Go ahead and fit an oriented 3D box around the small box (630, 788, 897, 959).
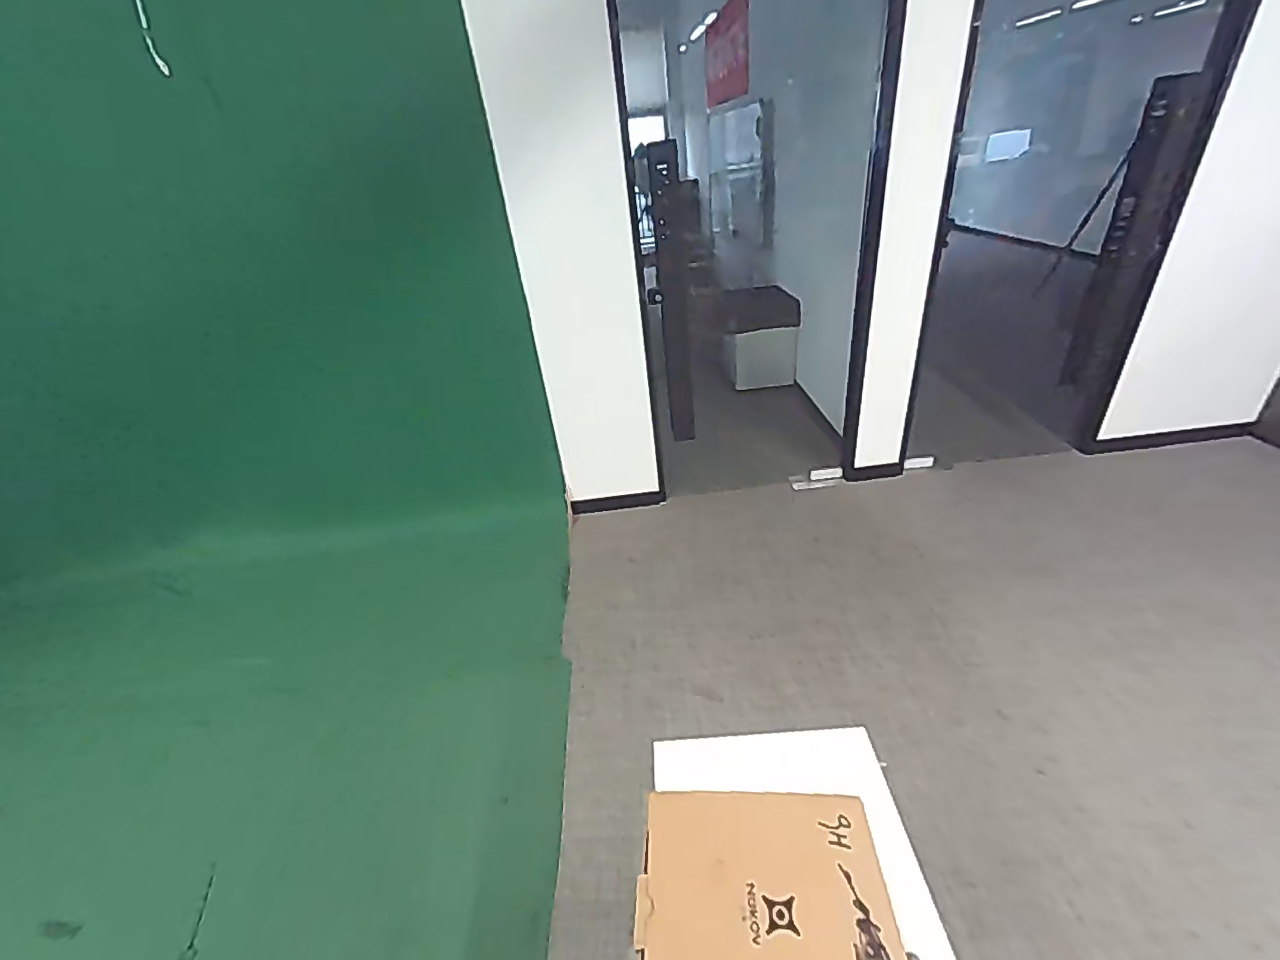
[{"bbox_3d":[0.087,0.367,0.418,0.179,0.176,0.168,-1,33,4],"label":"small box"}]
